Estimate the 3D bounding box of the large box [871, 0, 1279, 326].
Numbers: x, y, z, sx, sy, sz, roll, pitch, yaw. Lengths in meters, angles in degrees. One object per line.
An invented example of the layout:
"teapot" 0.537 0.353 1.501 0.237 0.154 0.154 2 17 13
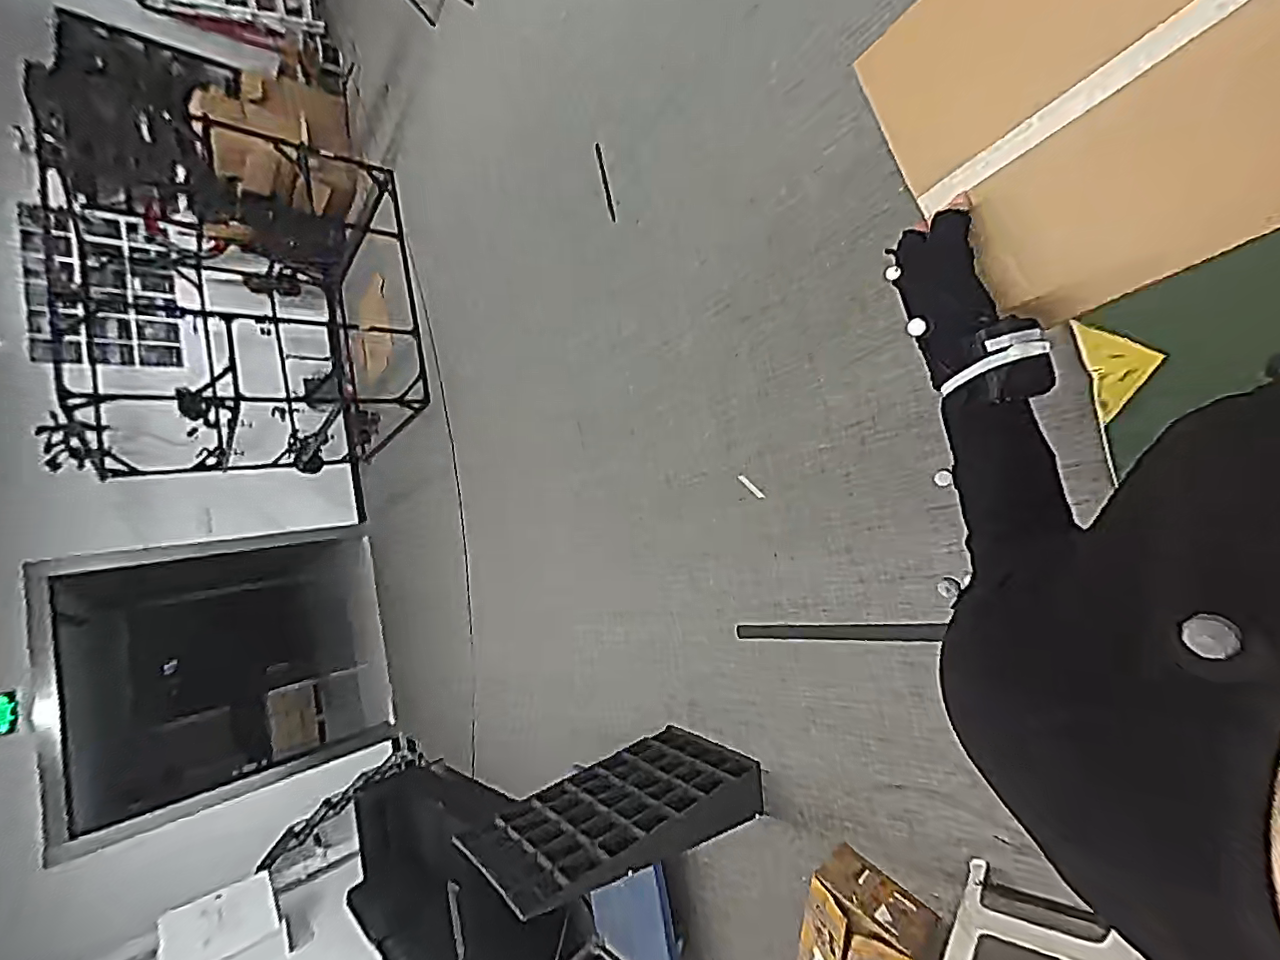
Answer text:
"large box" 0.502 -0.385 0.469 0.408 0.320 0.320 -26 89 50
